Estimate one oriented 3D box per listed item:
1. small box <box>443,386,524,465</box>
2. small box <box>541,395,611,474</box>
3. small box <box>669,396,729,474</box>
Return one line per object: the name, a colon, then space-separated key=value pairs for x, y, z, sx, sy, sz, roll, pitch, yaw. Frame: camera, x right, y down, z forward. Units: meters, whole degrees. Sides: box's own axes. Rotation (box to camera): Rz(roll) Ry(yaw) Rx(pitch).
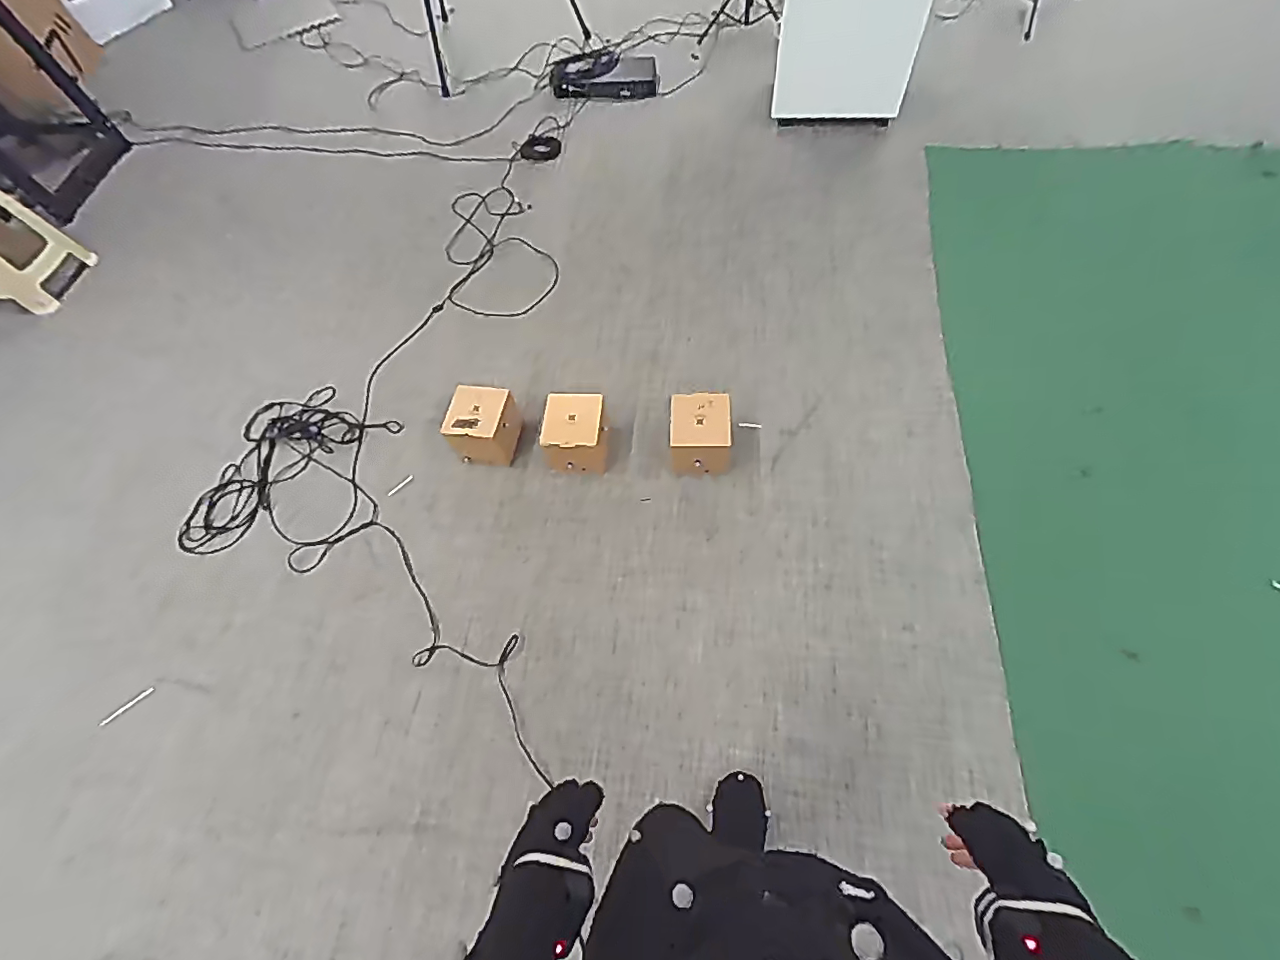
small box: x=-0.471 y=-0.162 z=1.658 sx=0.168 sy=0.176 sz=0.179 roll=6 pitch=63 yaw=9
small box: x=-0.184 y=-0.134 z=1.616 sx=0.168 sy=0.176 sz=0.179 roll=2 pitch=64 yaw=7
small box: x=0.173 y=-0.127 z=1.575 sx=0.168 sy=0.176 sz=0.179 roll=1 pitch=63 yaw=5
